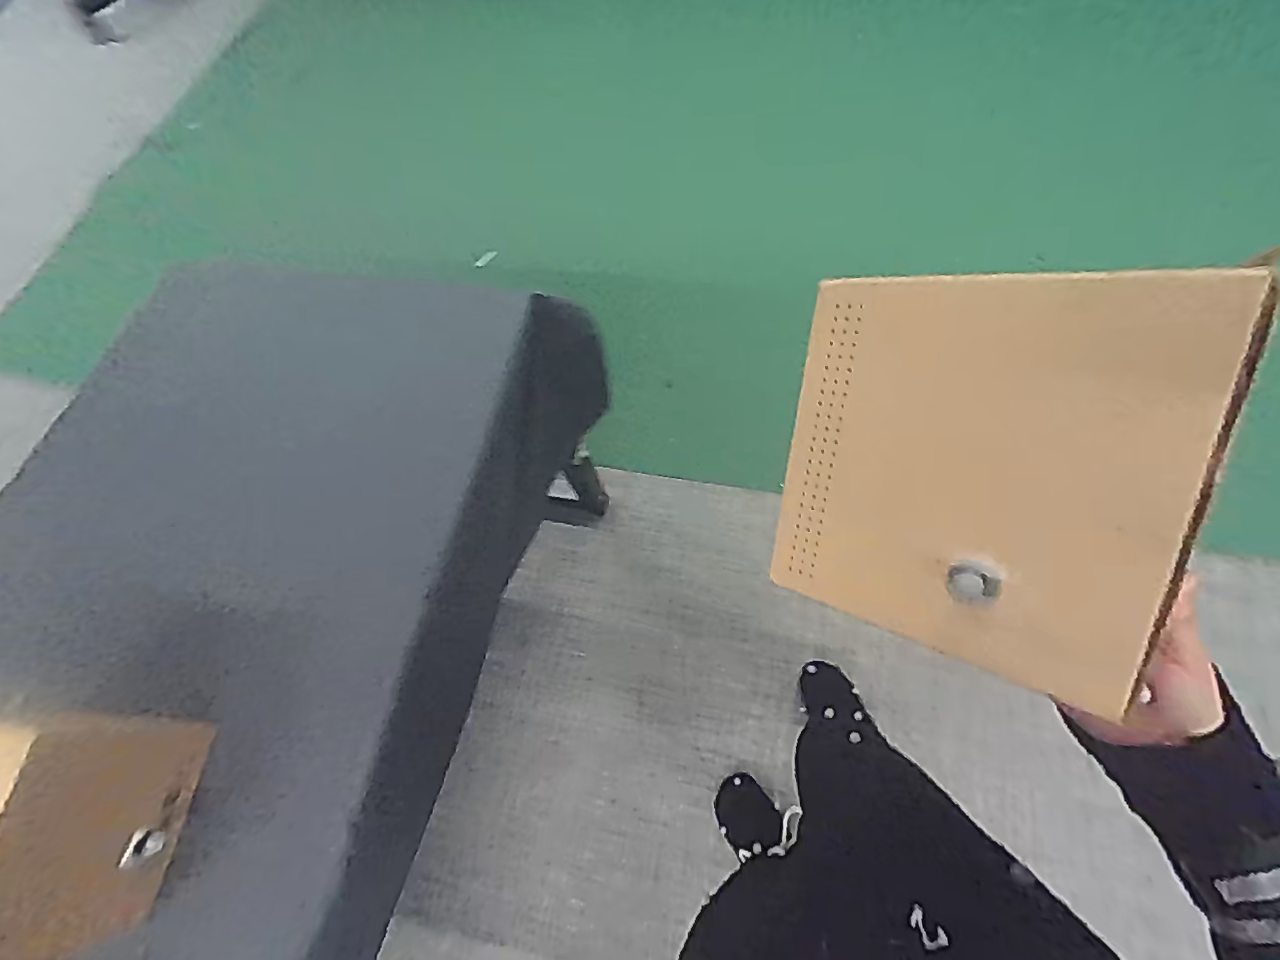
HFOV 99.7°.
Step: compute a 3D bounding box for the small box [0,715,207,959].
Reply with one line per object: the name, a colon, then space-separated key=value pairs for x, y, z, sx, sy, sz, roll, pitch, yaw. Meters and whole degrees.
small box: x=-0.529 y=0.289 z=0.449 sx=0.179 sy=0.176 sz=0.168 roll=1 pitch=67 yaw=7
